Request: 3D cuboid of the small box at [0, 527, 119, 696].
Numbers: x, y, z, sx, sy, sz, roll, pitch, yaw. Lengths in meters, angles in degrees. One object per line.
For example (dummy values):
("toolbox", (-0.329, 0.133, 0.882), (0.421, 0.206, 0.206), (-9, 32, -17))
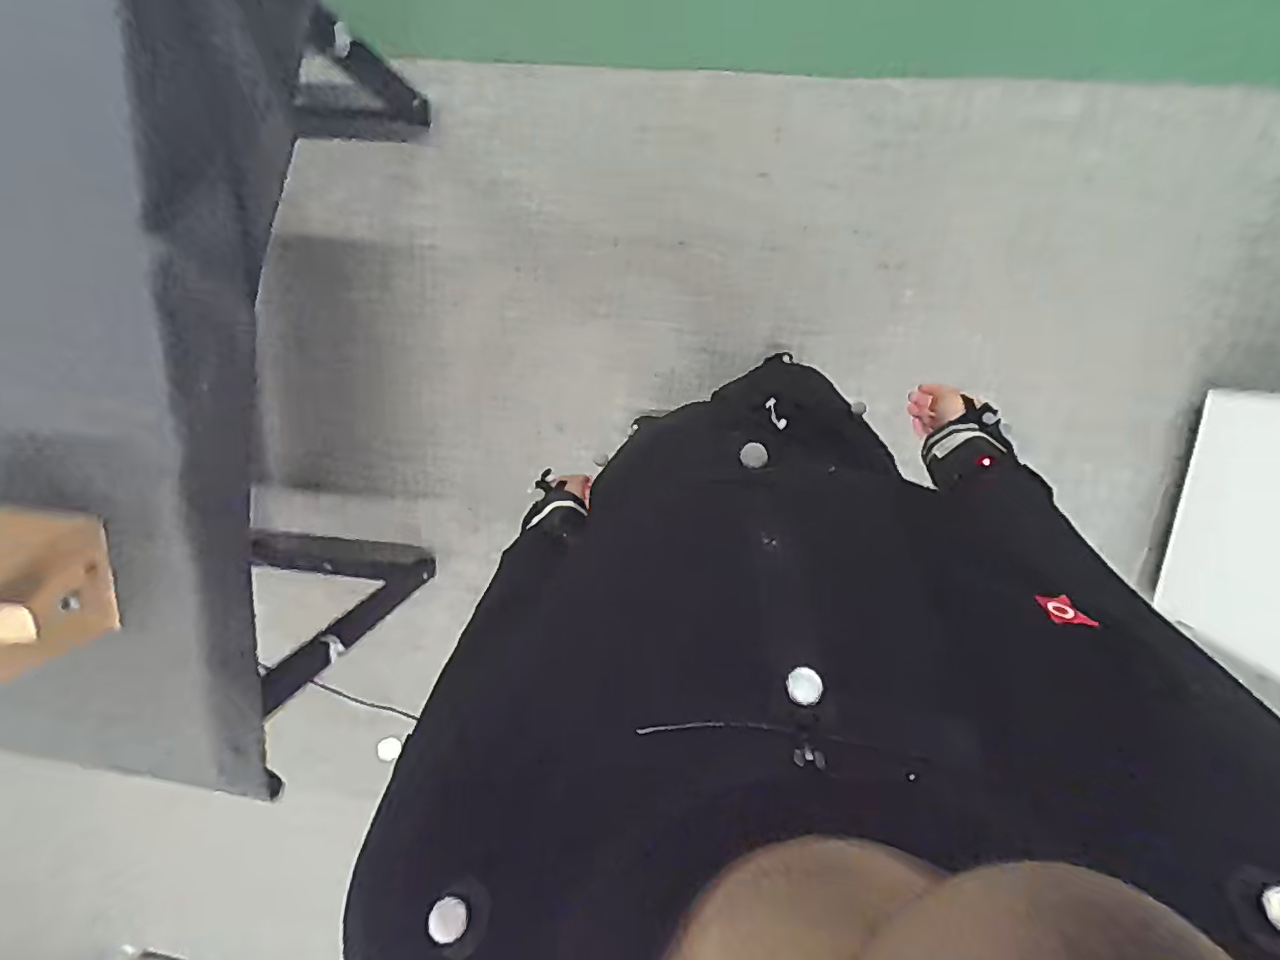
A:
("small box", (-0.818, 0.163, 0.672), (0.179, 0.176, 0.168), (4, 103, 5))
